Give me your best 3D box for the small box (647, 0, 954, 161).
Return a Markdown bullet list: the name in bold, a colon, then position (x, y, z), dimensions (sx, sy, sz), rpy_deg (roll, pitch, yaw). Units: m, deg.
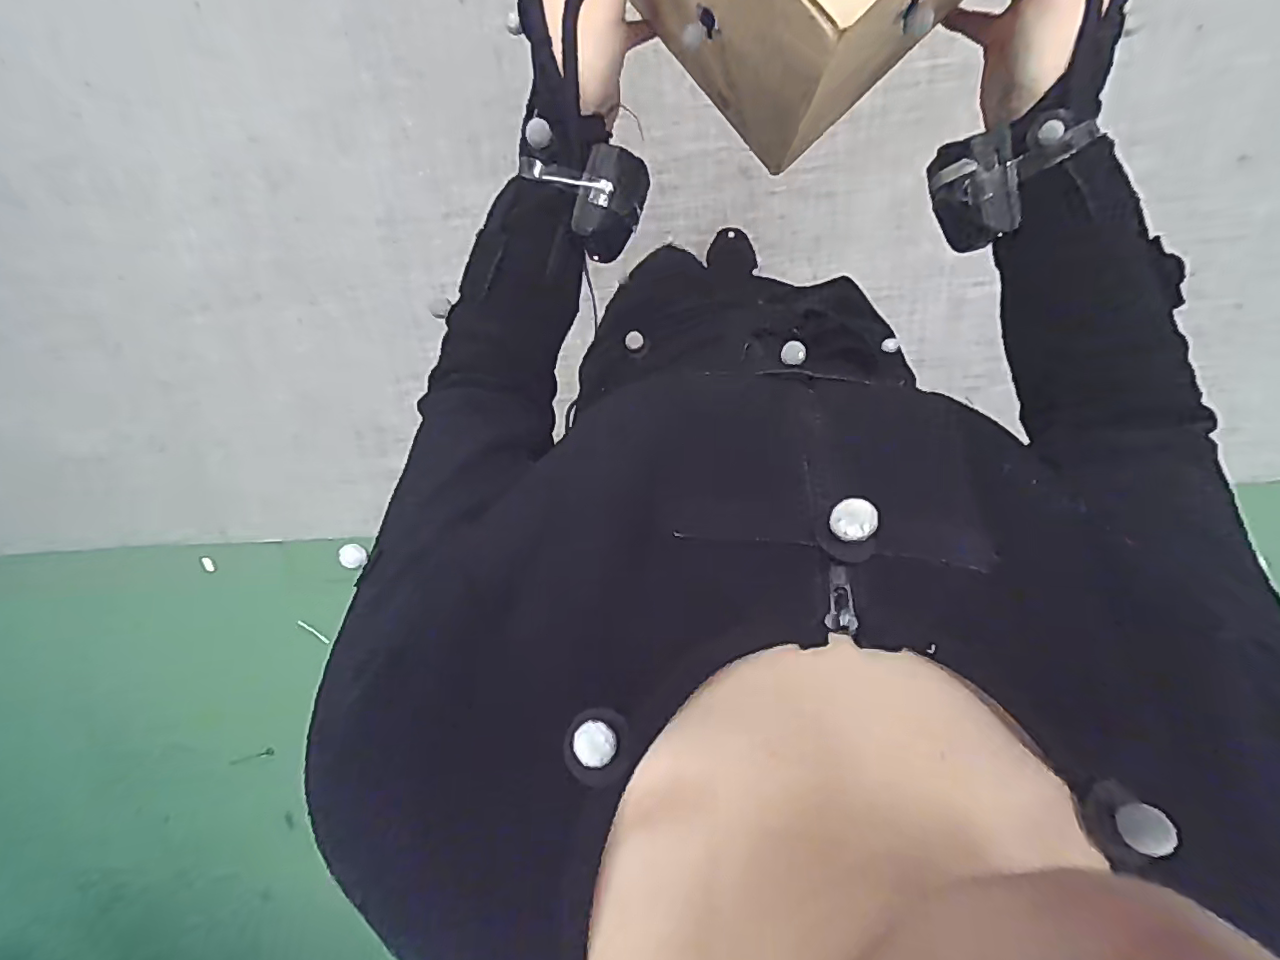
- **small box**: position (0.102, -0.328, 0.304), dimensions (0.179, 0.176, 0.168), rpy_deg (-41, 94, 11)
